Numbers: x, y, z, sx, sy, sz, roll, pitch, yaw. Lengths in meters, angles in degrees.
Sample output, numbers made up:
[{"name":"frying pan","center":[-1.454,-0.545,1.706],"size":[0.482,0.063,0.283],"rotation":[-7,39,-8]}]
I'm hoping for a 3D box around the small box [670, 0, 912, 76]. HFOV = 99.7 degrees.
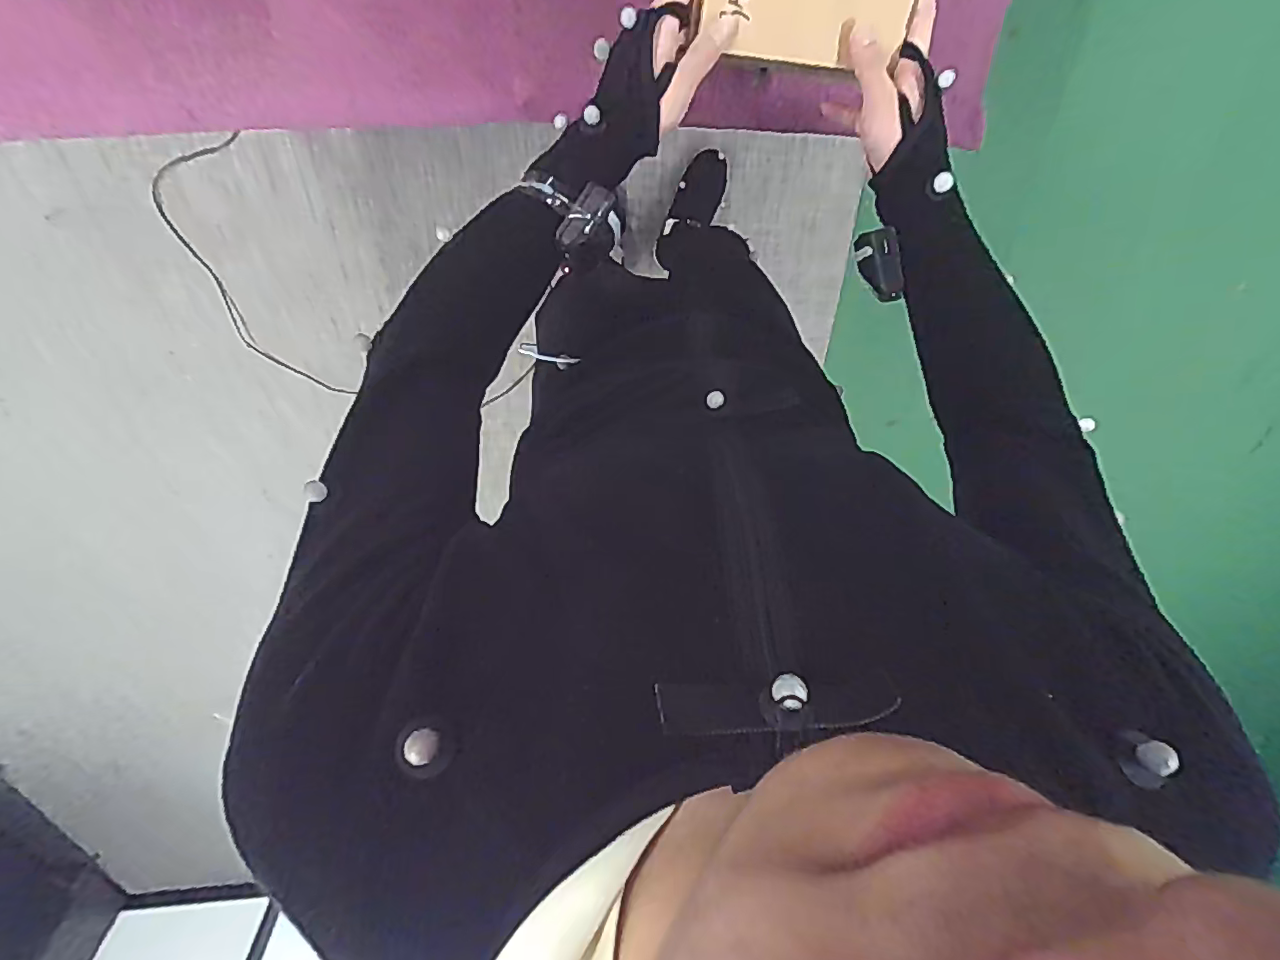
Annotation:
[{"name":"small box","center":[0.132,-0.466,0.471],"size":[0.179,0.176,0.168],"rotation":[3,125,-7]}]
